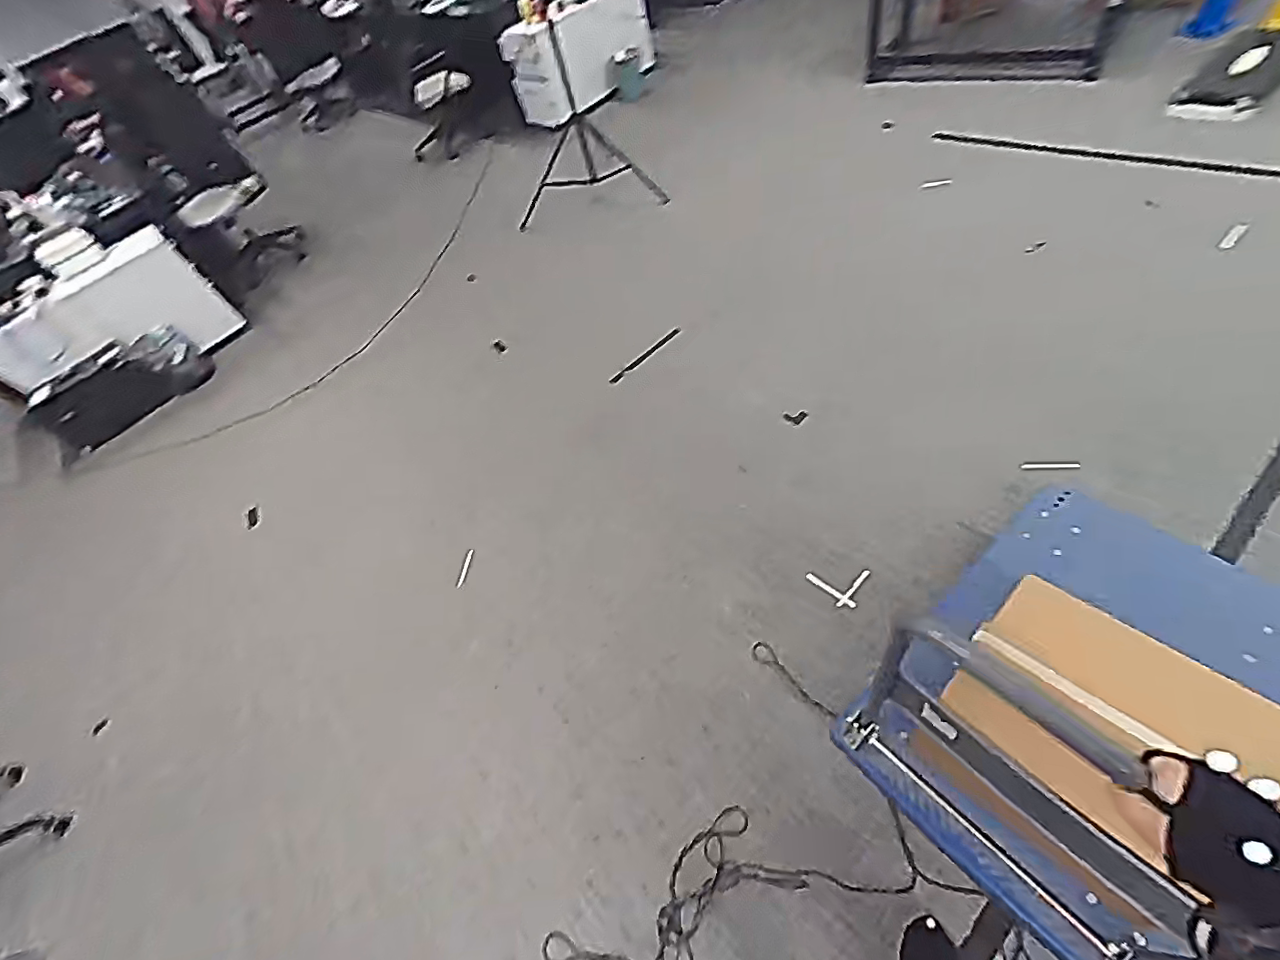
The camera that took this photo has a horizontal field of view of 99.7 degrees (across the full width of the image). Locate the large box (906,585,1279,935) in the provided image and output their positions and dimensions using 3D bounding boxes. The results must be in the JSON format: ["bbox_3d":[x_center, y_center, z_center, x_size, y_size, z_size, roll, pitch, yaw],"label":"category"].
[{"bbox_3d":[0.751,0.463,0.938,0.320,0.320,0.408,-44,55,-16],"label":"large box"}]
